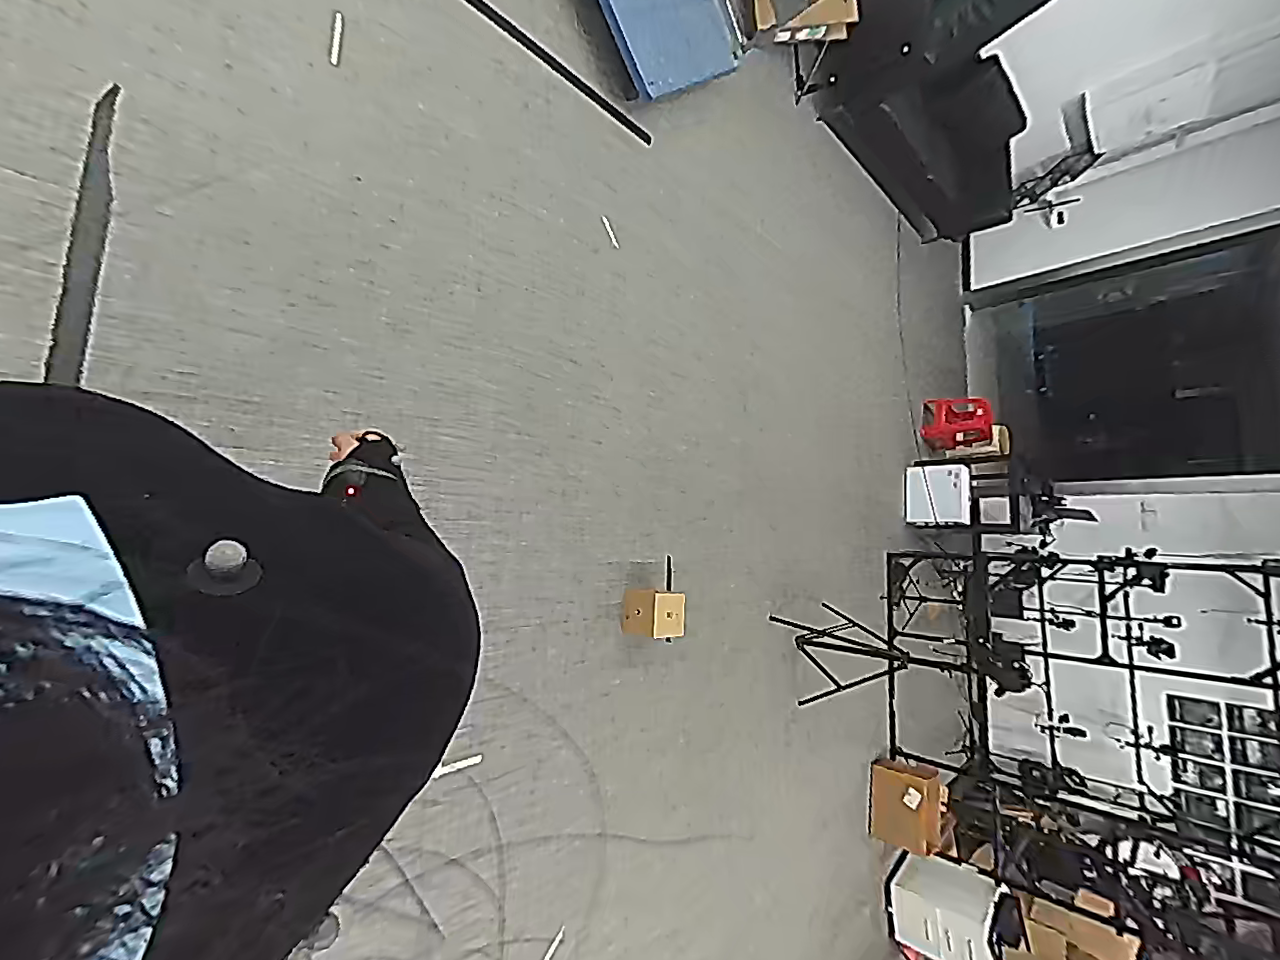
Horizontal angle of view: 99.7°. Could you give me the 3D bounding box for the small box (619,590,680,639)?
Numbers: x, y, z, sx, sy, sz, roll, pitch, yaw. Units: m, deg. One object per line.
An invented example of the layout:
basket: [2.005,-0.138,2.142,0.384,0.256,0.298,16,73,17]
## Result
small box: [0.035,0.521,2.106,0.179,0.176,0.168,12,79,-45]
